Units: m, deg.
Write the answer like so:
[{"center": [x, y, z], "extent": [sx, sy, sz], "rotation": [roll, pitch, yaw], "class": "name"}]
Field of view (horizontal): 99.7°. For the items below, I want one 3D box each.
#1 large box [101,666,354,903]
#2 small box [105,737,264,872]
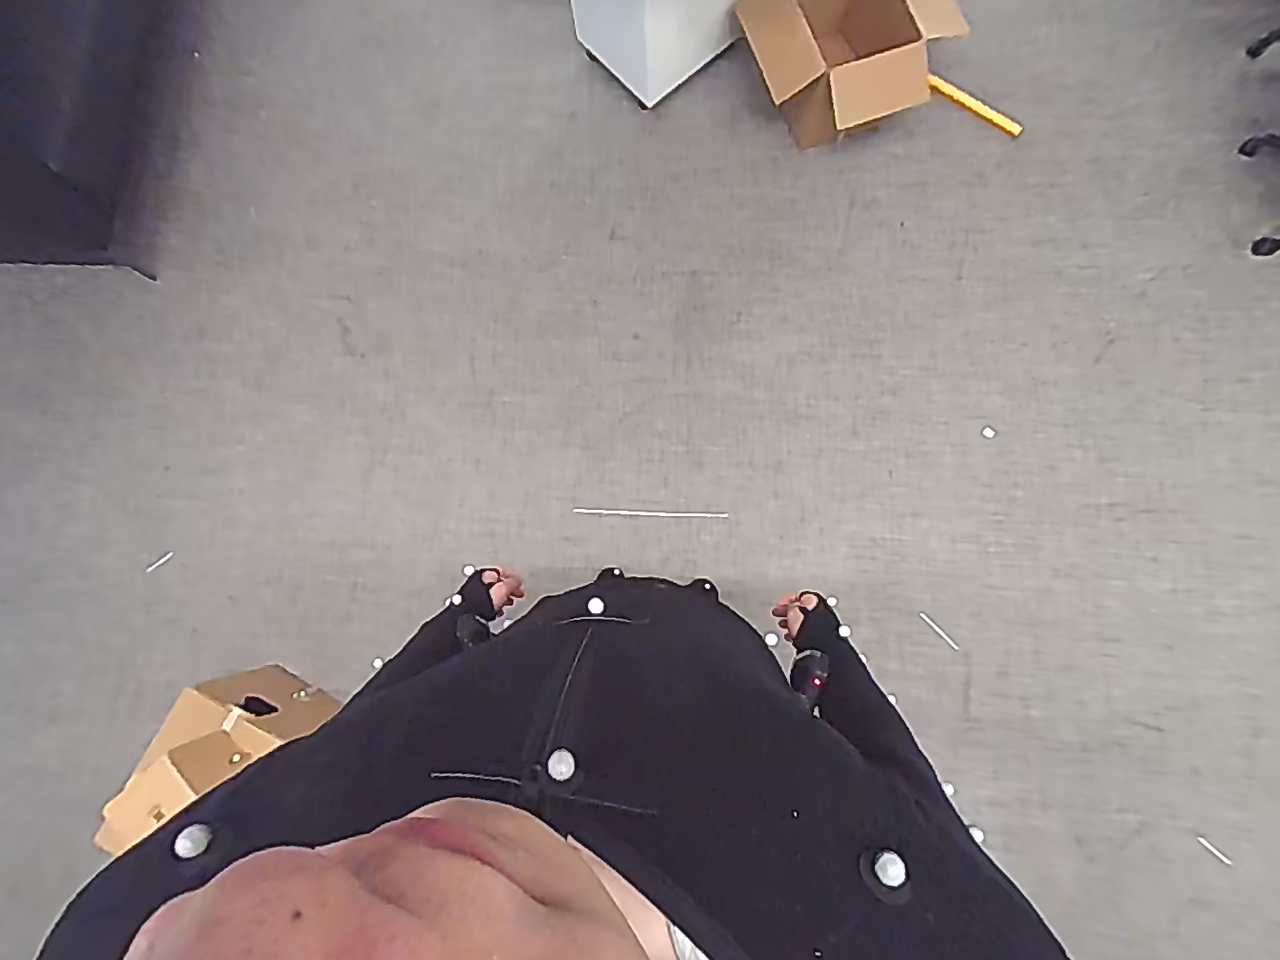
[{"center": [-1.064, 0.772, 1.447], "extent": [0.320, 0.320, 0.408], "rotation": [25, 83, 6], "class": "large box"}, {"center": [-1.004, 0.705, 1.207], "extent": [0.168, 0.176, 0.179], "rotation": [-44, 83, -5], "class": "small box"}]
